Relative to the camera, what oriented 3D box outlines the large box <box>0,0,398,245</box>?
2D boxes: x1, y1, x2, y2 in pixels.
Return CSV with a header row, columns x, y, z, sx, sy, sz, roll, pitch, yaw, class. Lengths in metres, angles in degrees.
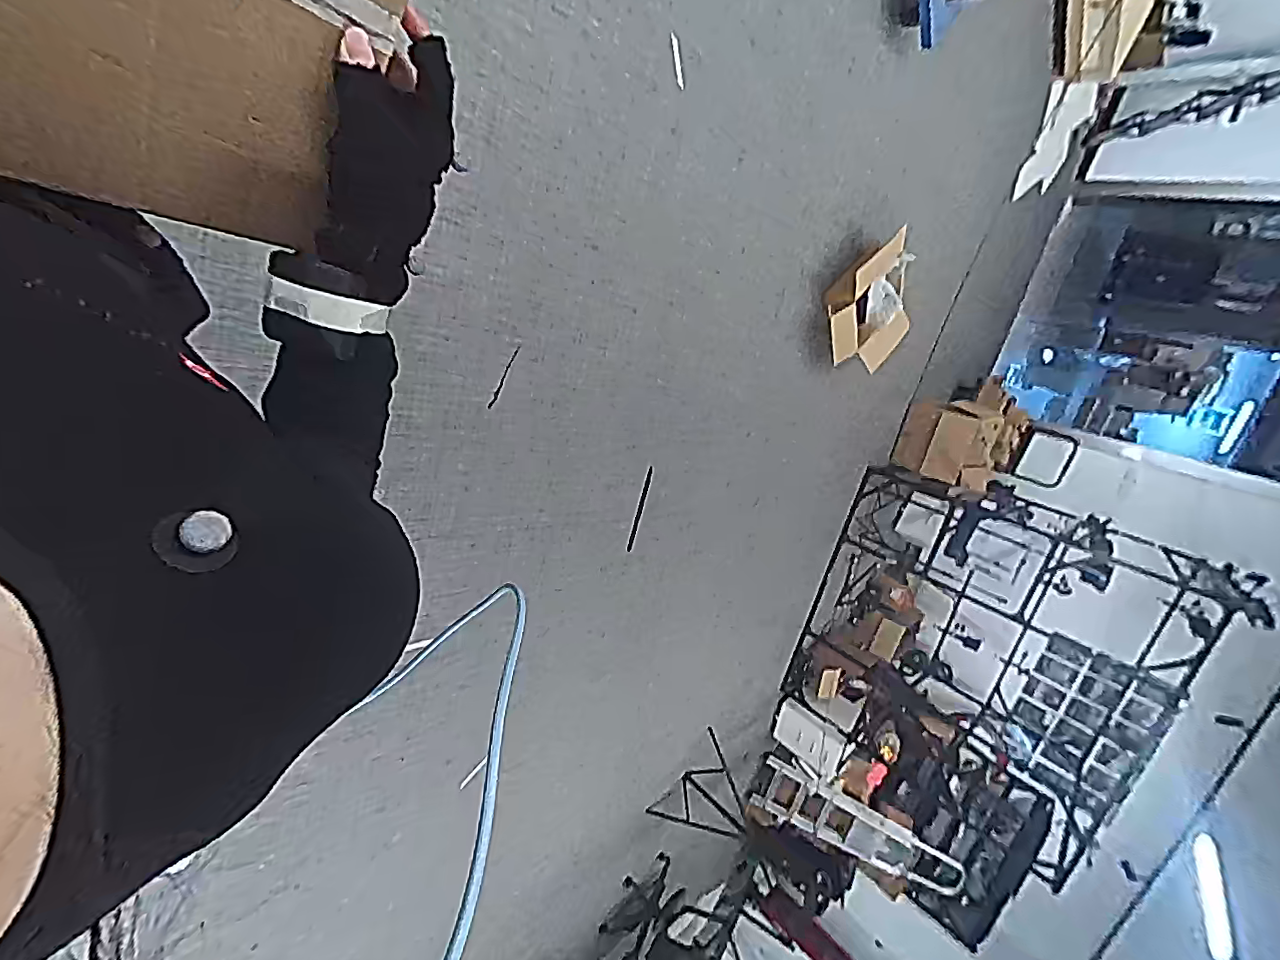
x,y,z,sx,sy,sz,roll,pitch,yaw,class
-0.354,-0.373,0.227,0.408,0.320,0.320,-4,147,-49,large box
